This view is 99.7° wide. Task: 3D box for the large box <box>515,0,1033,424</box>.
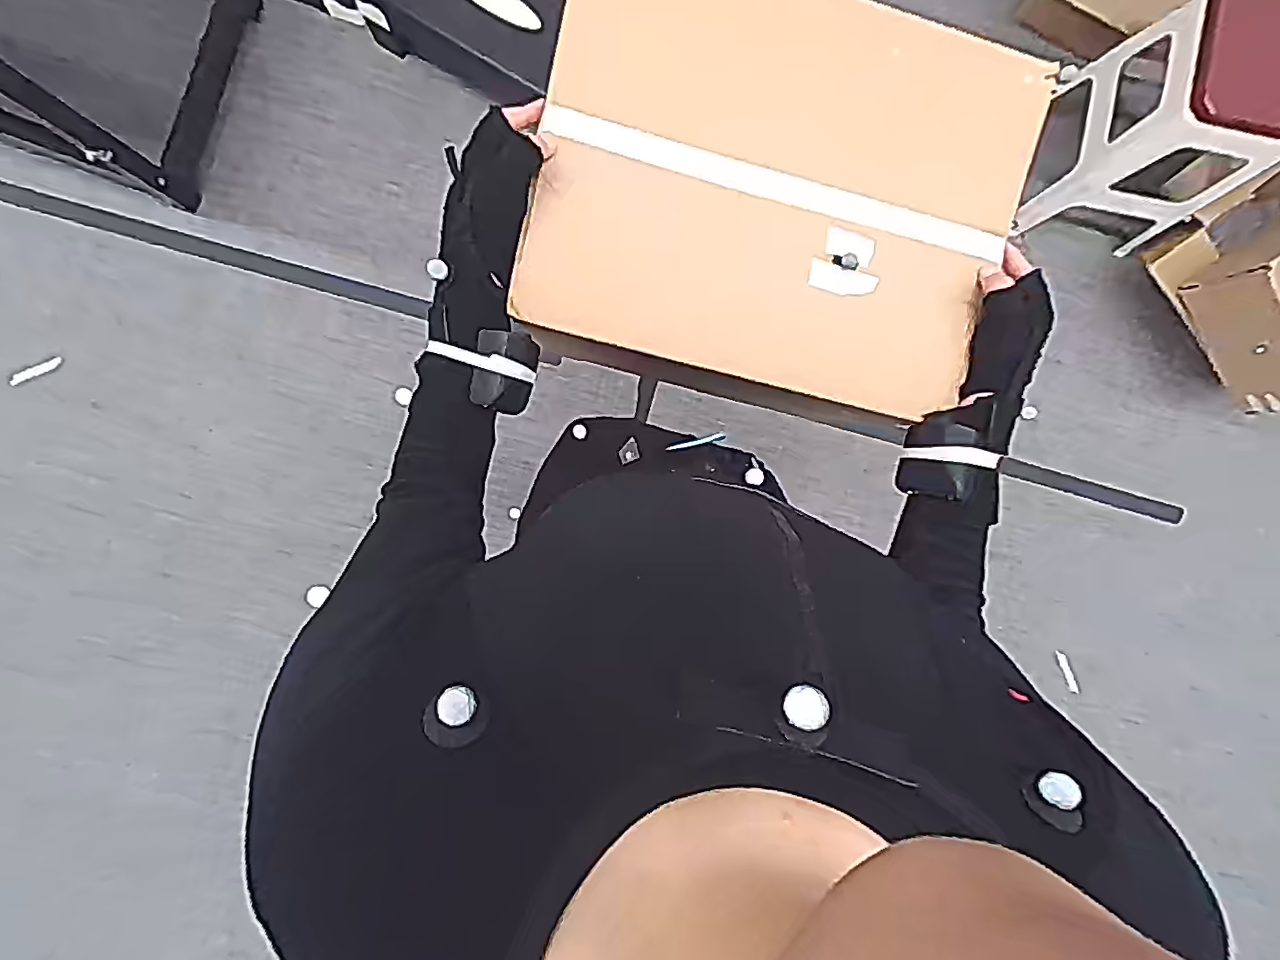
[{"bbox_3d":[0.102,-0.262,0.609,0.408,0.320,0.320,13,98,-7],"label":"large box"}]
